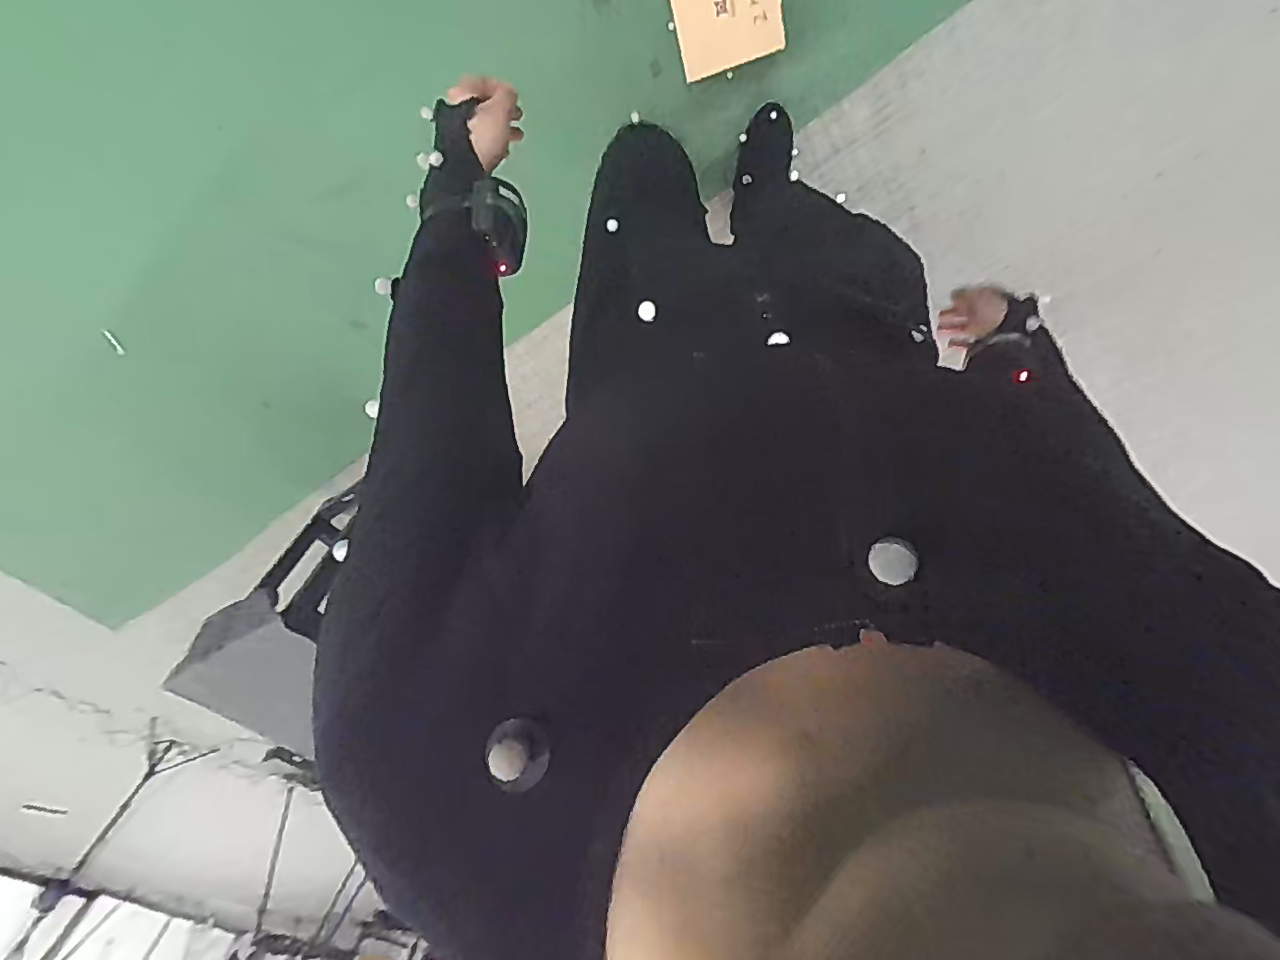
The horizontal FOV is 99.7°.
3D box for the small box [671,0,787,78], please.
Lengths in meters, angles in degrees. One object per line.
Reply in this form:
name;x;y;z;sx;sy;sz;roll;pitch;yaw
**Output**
small box;0.150;-0.832;0.946;0.179;0.176;0.168;-11;127;14
